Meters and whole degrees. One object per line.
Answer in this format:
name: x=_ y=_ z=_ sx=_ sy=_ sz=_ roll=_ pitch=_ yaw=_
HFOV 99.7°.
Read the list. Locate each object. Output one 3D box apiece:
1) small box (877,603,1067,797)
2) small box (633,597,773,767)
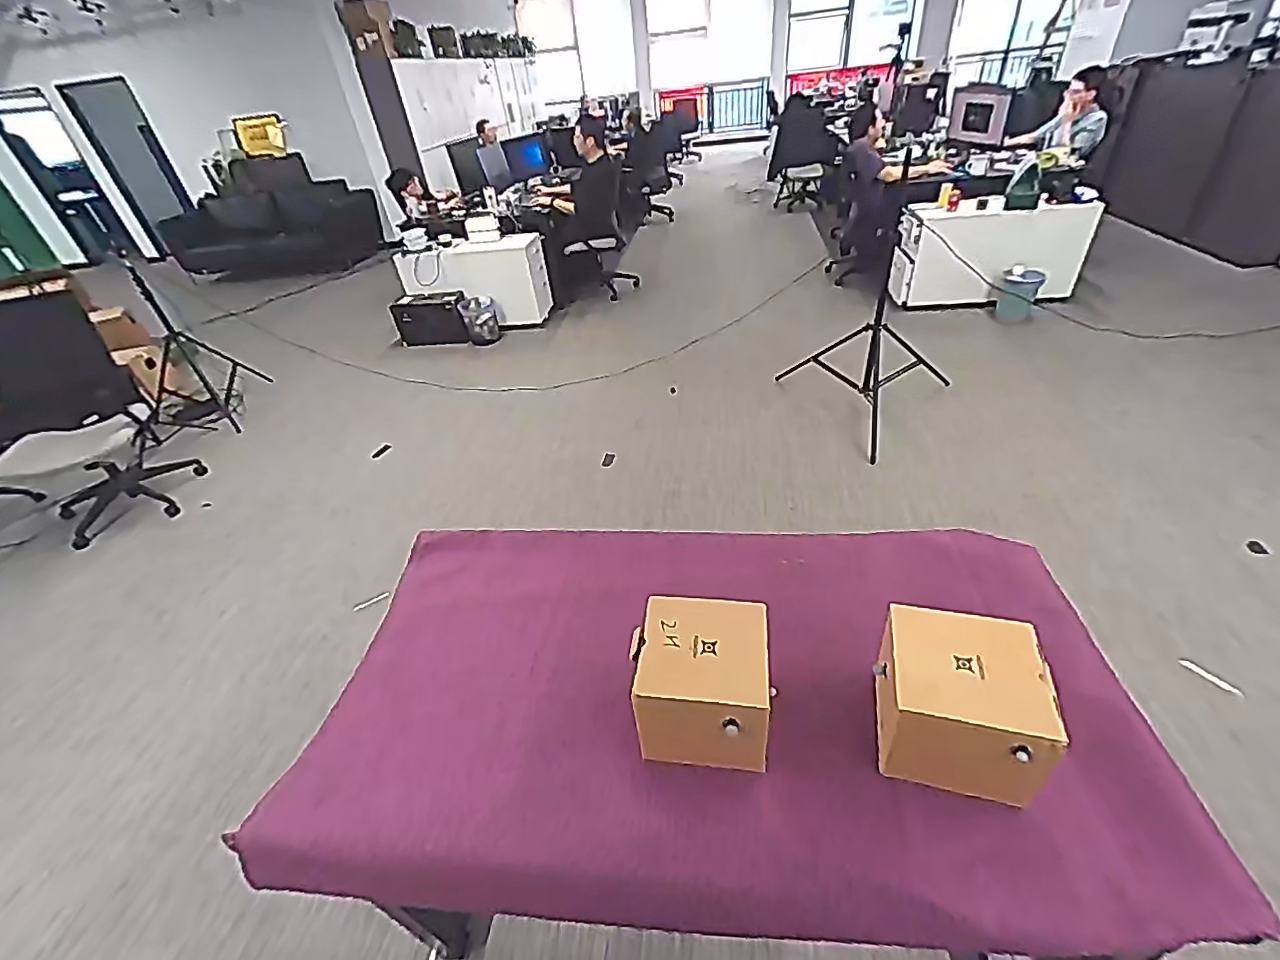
small box: x=0.422 y=0.292 z=0.726 sx=0.179 sy=0.176 sz=0.168 roll=5 pitch=39 yaw=17
small box: x=0.097 y=0.293 z=0.785 sx=0.179 sy=0.176 sz=0.168 roll=0 pitch=37 yaw=11
